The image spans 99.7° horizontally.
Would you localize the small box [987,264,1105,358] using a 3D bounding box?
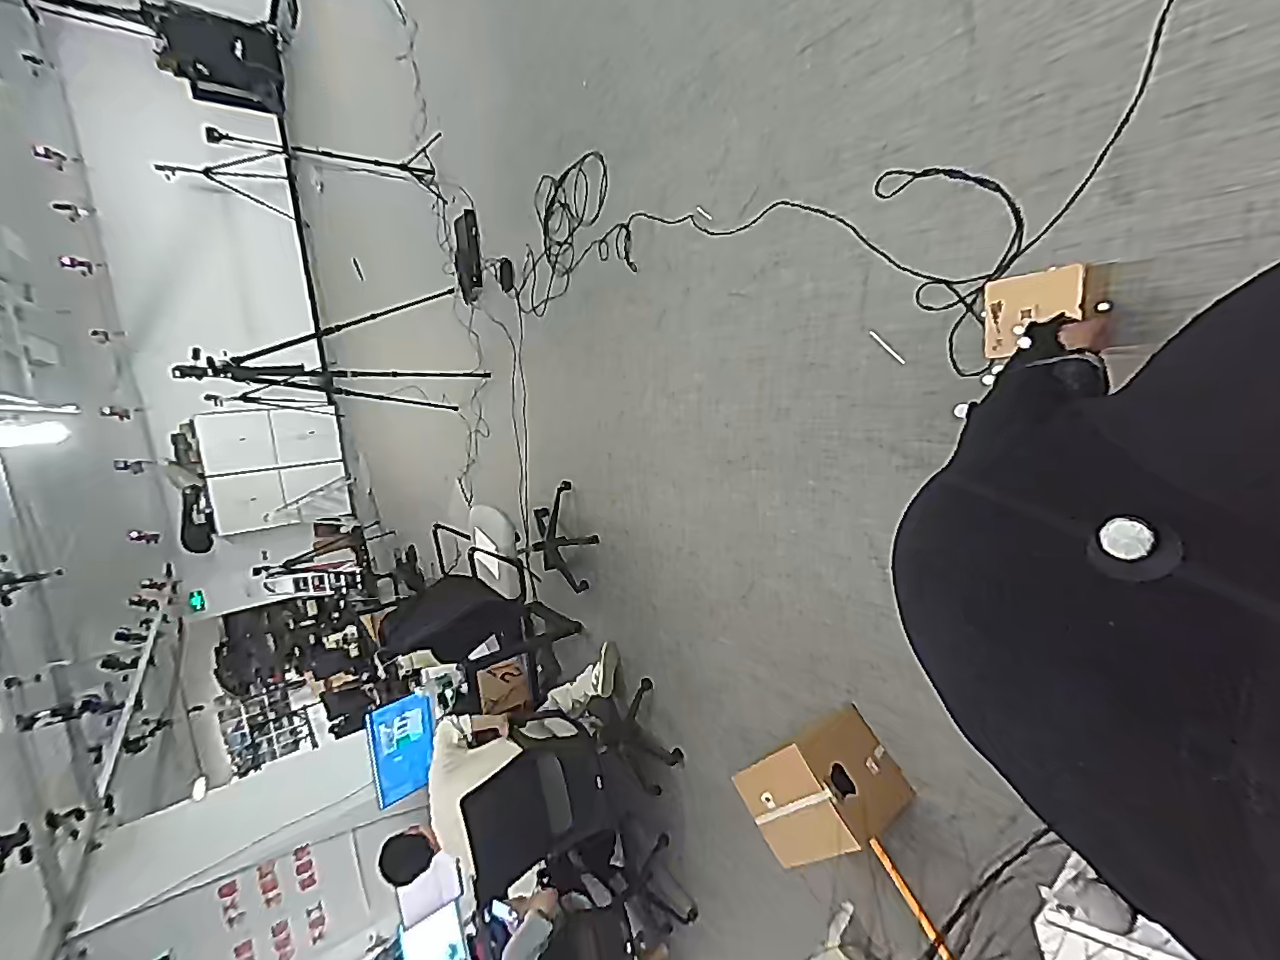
[{"bbox_3d":[0.879,-0.360,1.169,0.179,0.176,0.168,5,103,51],"label":"small box"}]
